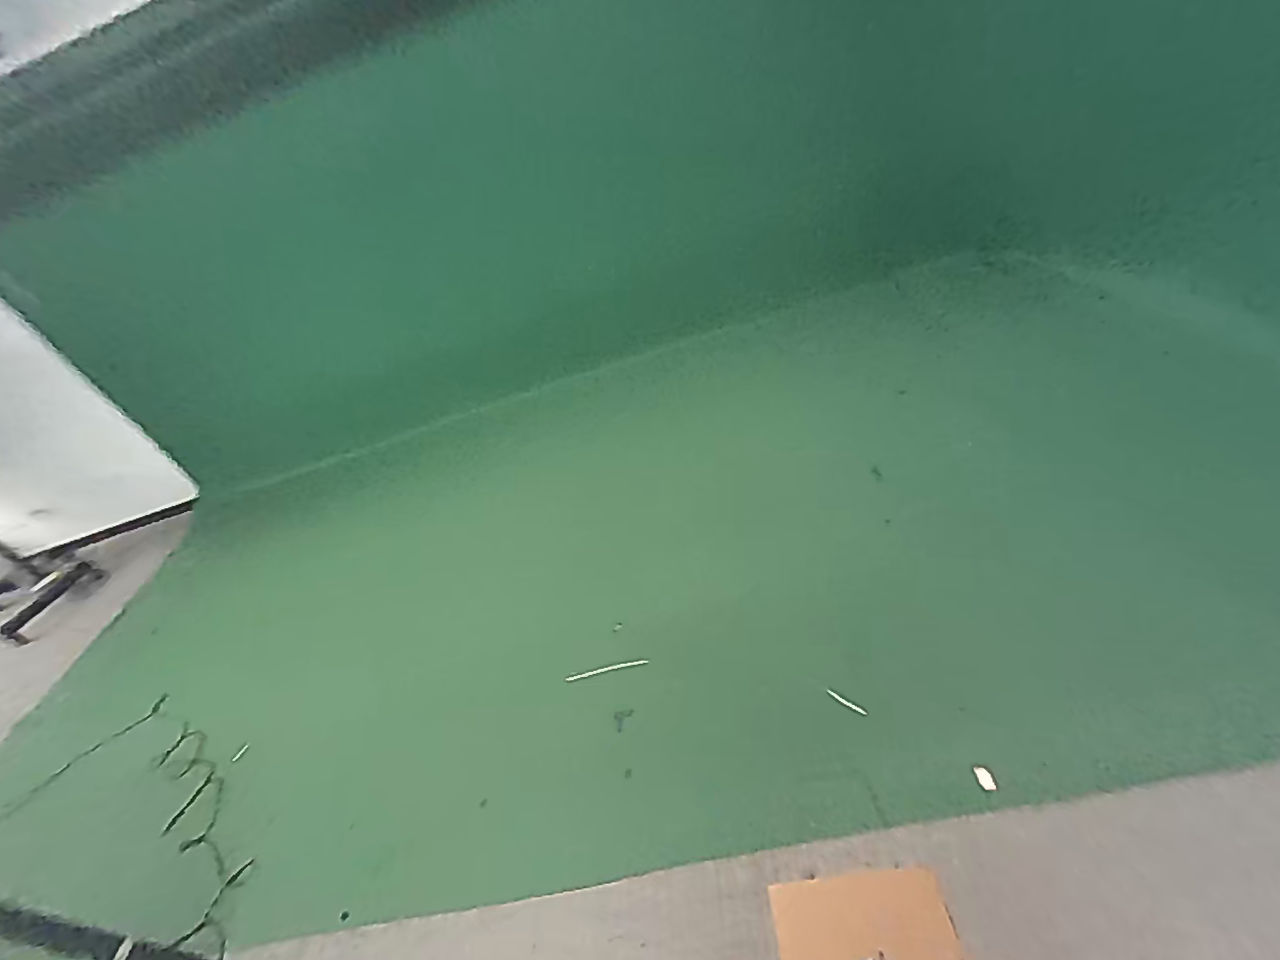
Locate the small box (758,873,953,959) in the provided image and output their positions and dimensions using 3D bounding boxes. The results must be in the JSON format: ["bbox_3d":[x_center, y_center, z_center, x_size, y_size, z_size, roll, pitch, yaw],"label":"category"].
[{"bbox_3d":[0.235,0.541,0.567,0.179,0.176,0.168,-13,41,7],"label":"small box"}]
